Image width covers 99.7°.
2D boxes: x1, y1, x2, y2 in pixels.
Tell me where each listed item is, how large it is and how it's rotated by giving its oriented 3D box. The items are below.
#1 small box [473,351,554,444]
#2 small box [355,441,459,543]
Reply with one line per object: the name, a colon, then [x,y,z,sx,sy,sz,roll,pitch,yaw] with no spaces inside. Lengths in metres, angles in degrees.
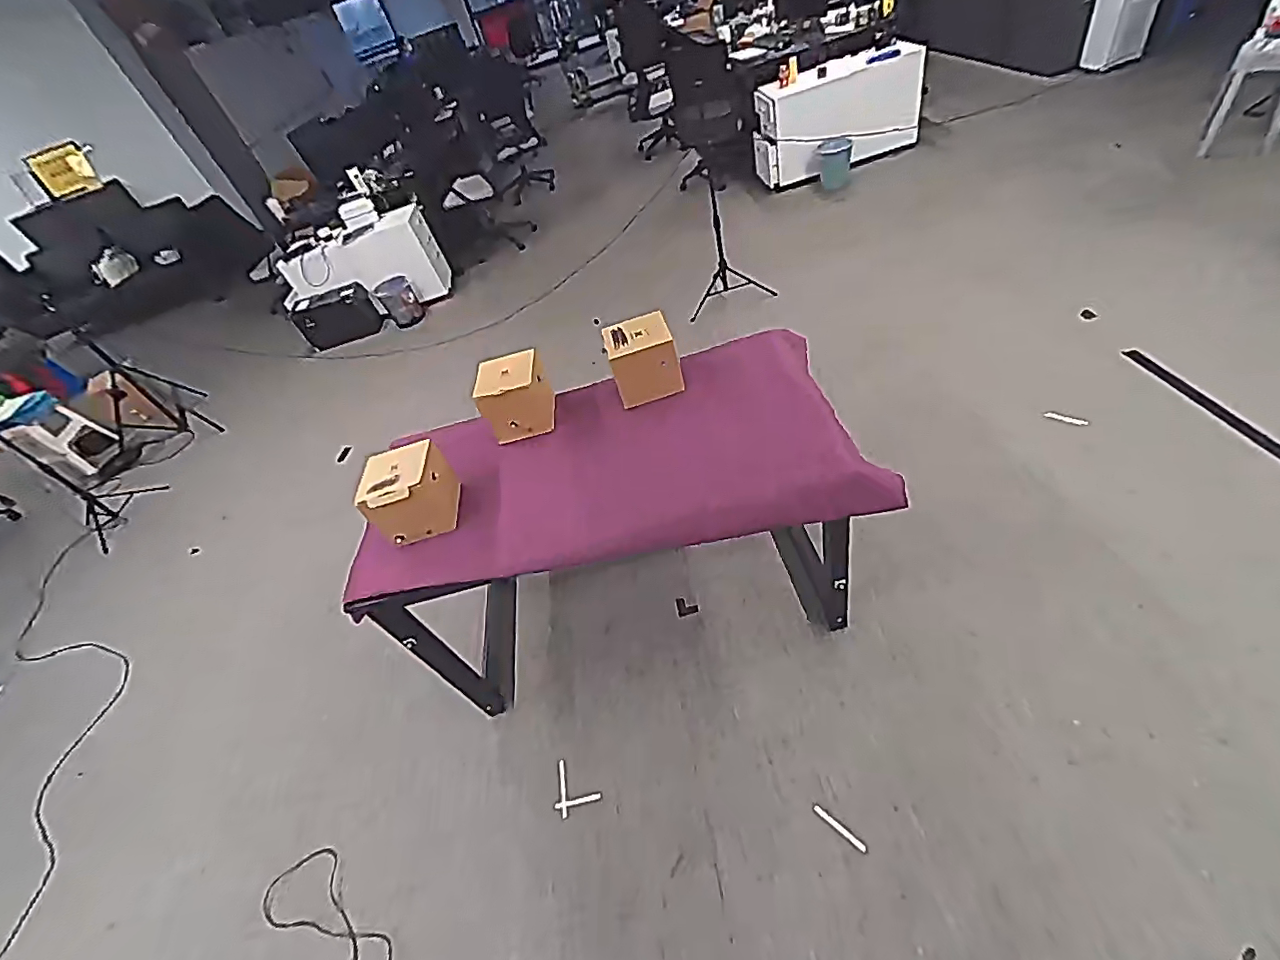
small box: [-0.350,-0.230,1.524,0.168,0.176,0.179,-14,45,6]
small box: [-0.567,0.037,1.345,0.168,0.176,0.179,-17,43,3]
